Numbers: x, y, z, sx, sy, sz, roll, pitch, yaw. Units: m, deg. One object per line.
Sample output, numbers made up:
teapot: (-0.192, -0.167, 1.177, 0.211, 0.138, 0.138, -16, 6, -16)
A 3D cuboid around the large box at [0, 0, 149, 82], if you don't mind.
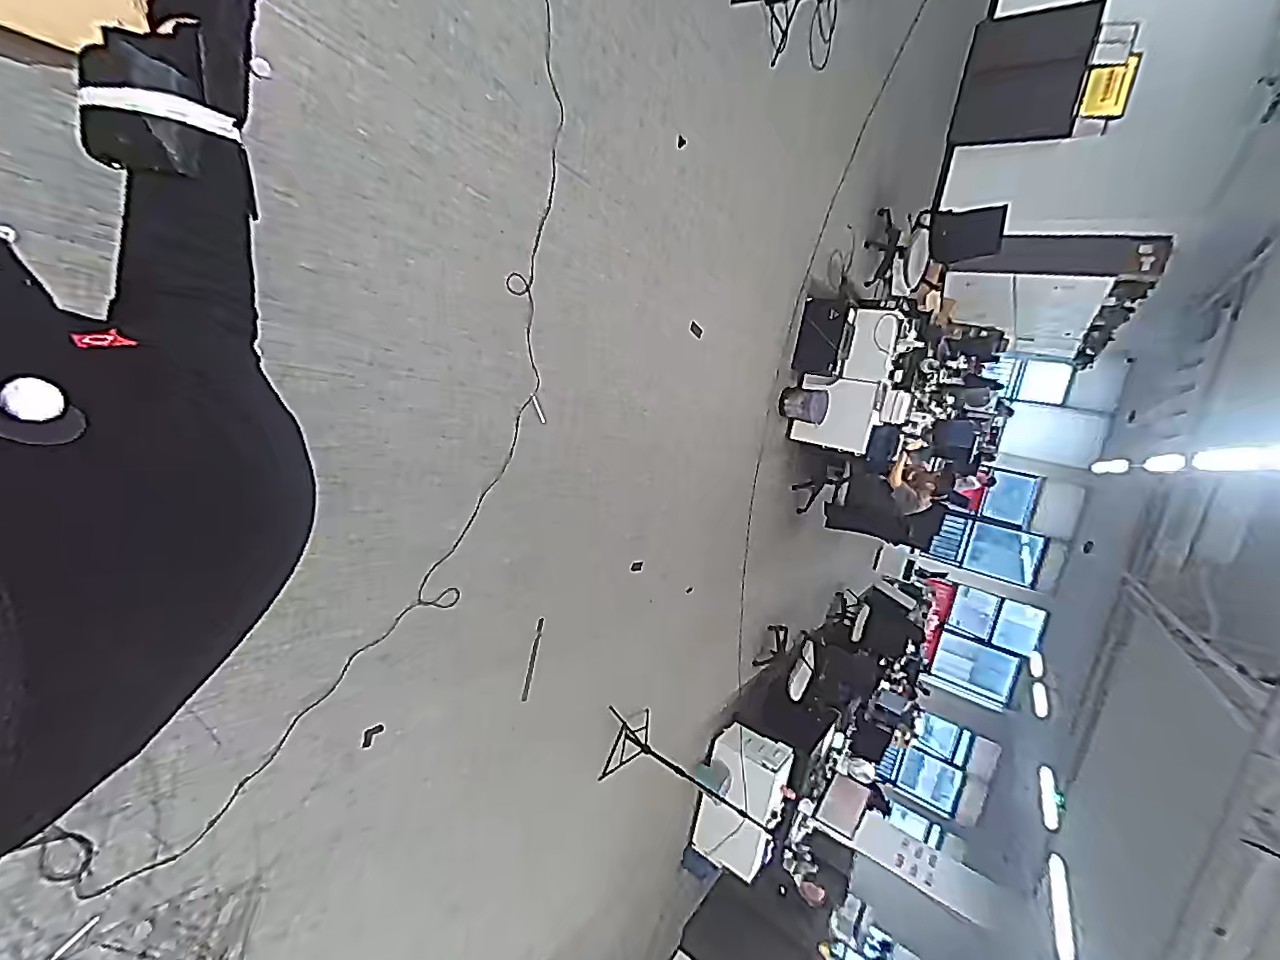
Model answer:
large box: (-0.524, -0.438, 0.226, 0.408, 0.320, 0.320, -13, 125, -56)
